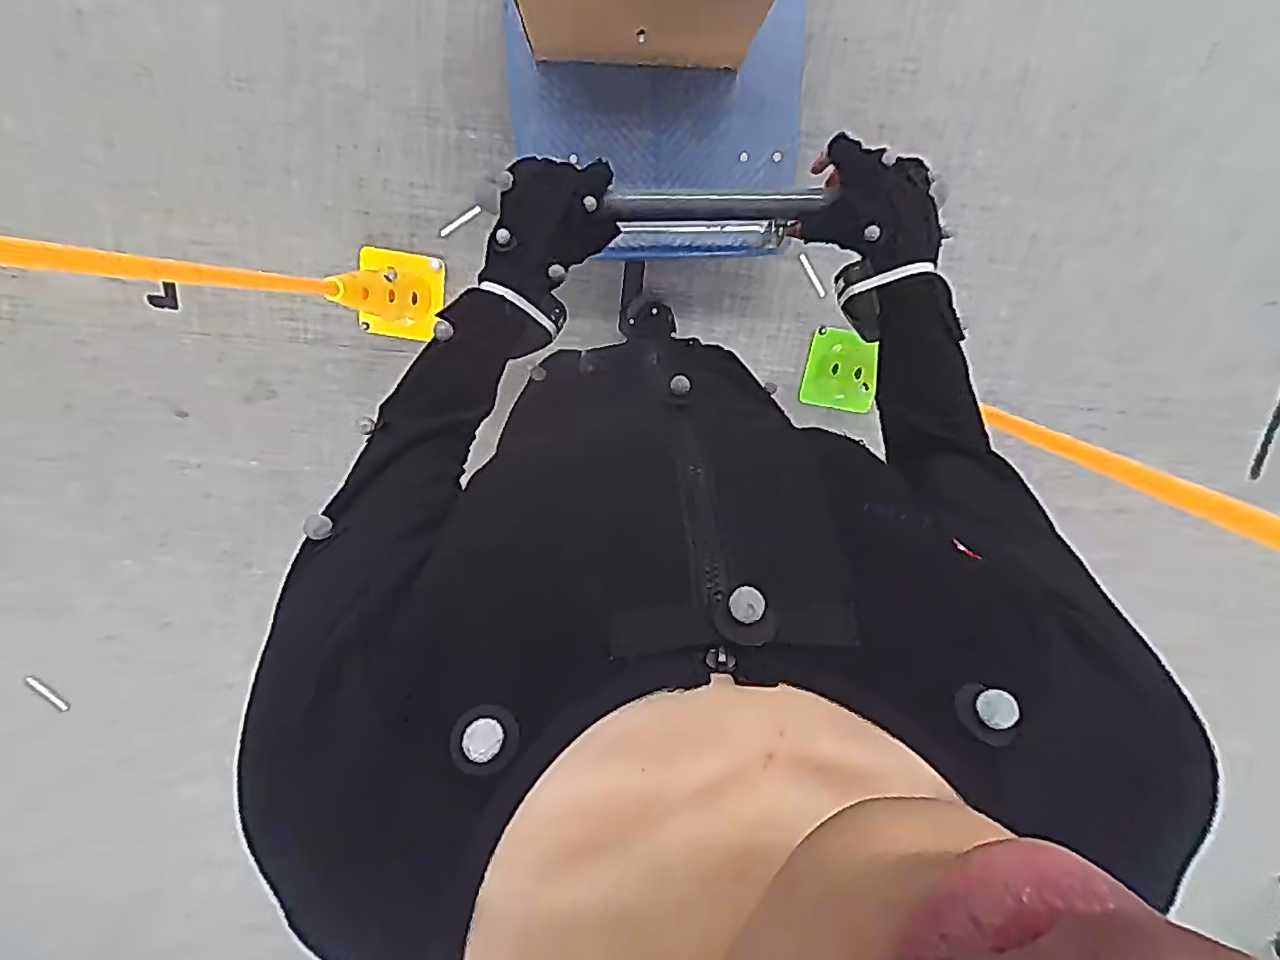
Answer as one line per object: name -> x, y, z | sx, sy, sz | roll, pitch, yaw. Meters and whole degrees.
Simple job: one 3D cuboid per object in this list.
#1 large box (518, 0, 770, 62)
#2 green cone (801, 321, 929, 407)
large box -> 0.005, -0.919, 0.873 | 0.408, 0.320, 0.320 | 0, 108, -2
green cone -> 0.544, -0.251, 1.253 | 0.202, 0.368, 0.200 | 8, 106, -6
